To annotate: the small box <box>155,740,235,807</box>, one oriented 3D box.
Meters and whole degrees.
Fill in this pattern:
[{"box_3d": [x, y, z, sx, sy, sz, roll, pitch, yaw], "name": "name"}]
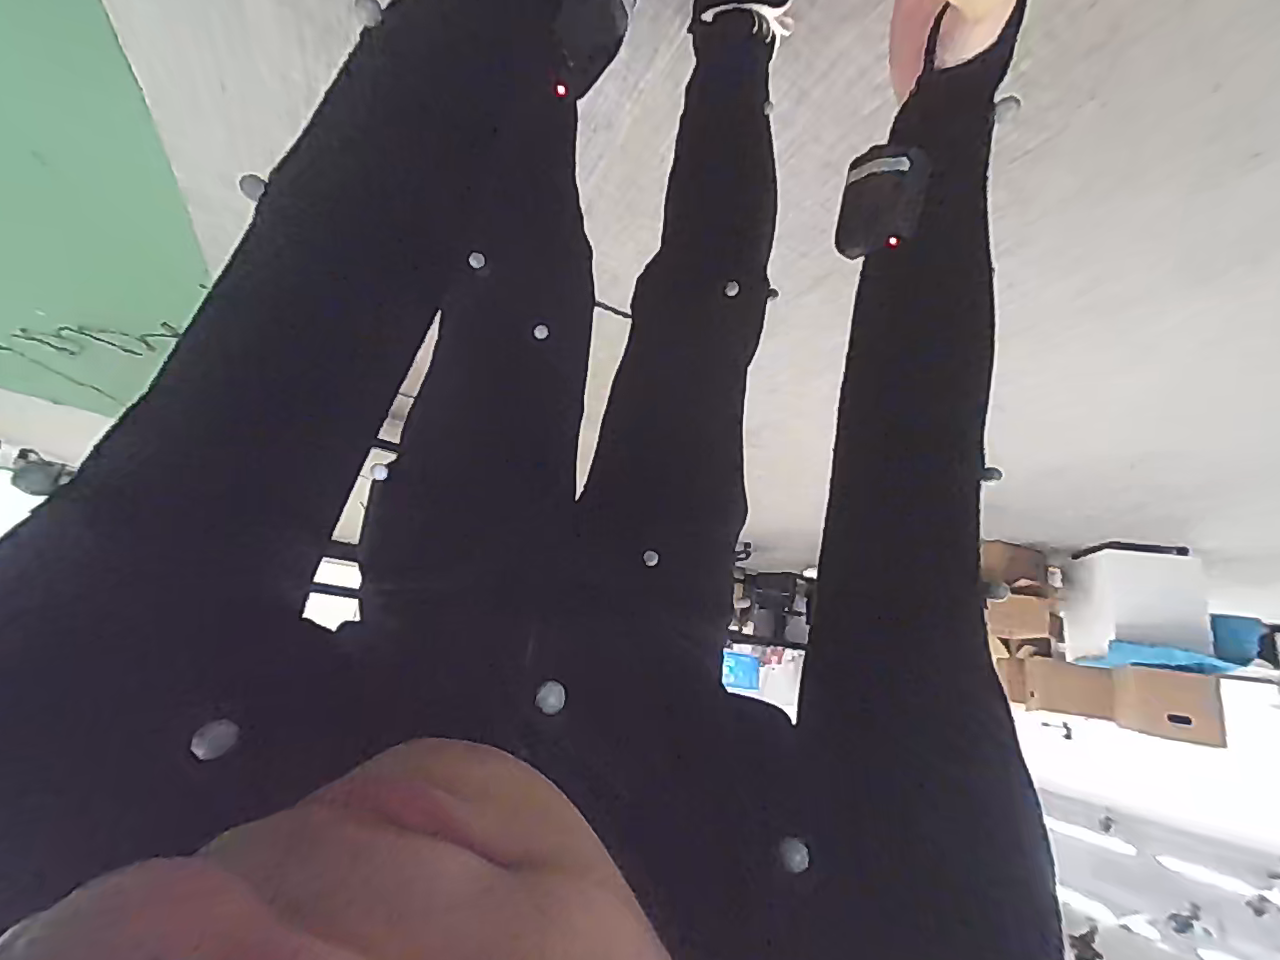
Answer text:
[{"box_3d": [-1.547, 1.021, 1.893, 0.179, 0.176, 0.168, 18, 163, -30], "name": "small box"}]
